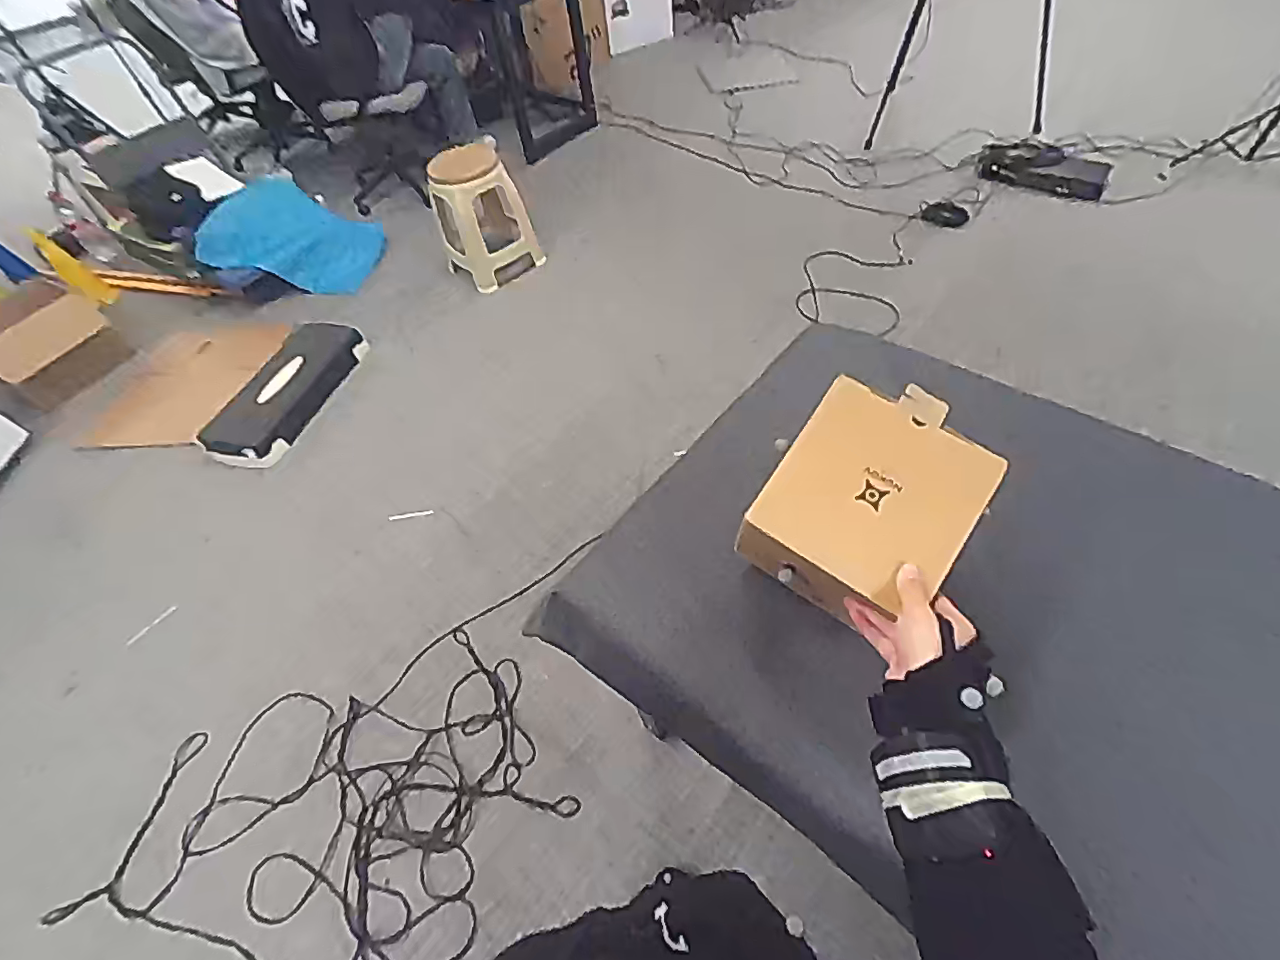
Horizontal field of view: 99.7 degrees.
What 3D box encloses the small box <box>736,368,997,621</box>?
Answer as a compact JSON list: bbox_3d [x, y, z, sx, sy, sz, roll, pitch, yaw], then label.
[{"bbox_3d":[0.212,0.027,0.556,0.168,0.176,0.179,32,77,16],"label":"small box"}]
